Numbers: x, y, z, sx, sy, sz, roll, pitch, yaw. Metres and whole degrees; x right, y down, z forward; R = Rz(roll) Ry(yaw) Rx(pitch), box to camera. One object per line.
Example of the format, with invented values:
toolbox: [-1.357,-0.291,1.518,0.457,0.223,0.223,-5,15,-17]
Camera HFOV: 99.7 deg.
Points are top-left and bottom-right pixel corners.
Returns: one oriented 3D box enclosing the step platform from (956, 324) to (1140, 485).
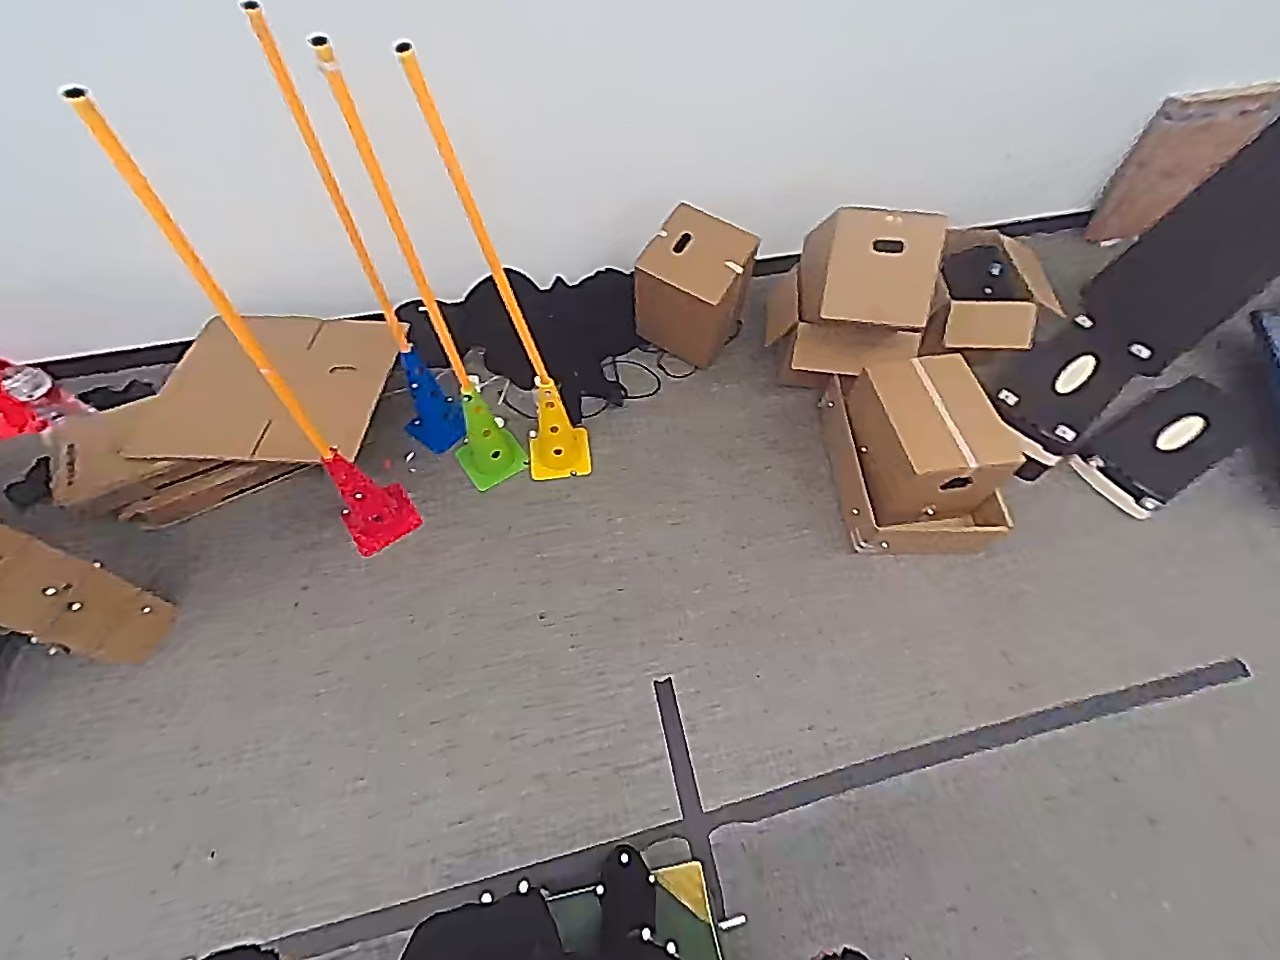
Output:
step platform: [1.449,-0.284,1.917,0.684,0.204,0.286,-37,65,-21]
